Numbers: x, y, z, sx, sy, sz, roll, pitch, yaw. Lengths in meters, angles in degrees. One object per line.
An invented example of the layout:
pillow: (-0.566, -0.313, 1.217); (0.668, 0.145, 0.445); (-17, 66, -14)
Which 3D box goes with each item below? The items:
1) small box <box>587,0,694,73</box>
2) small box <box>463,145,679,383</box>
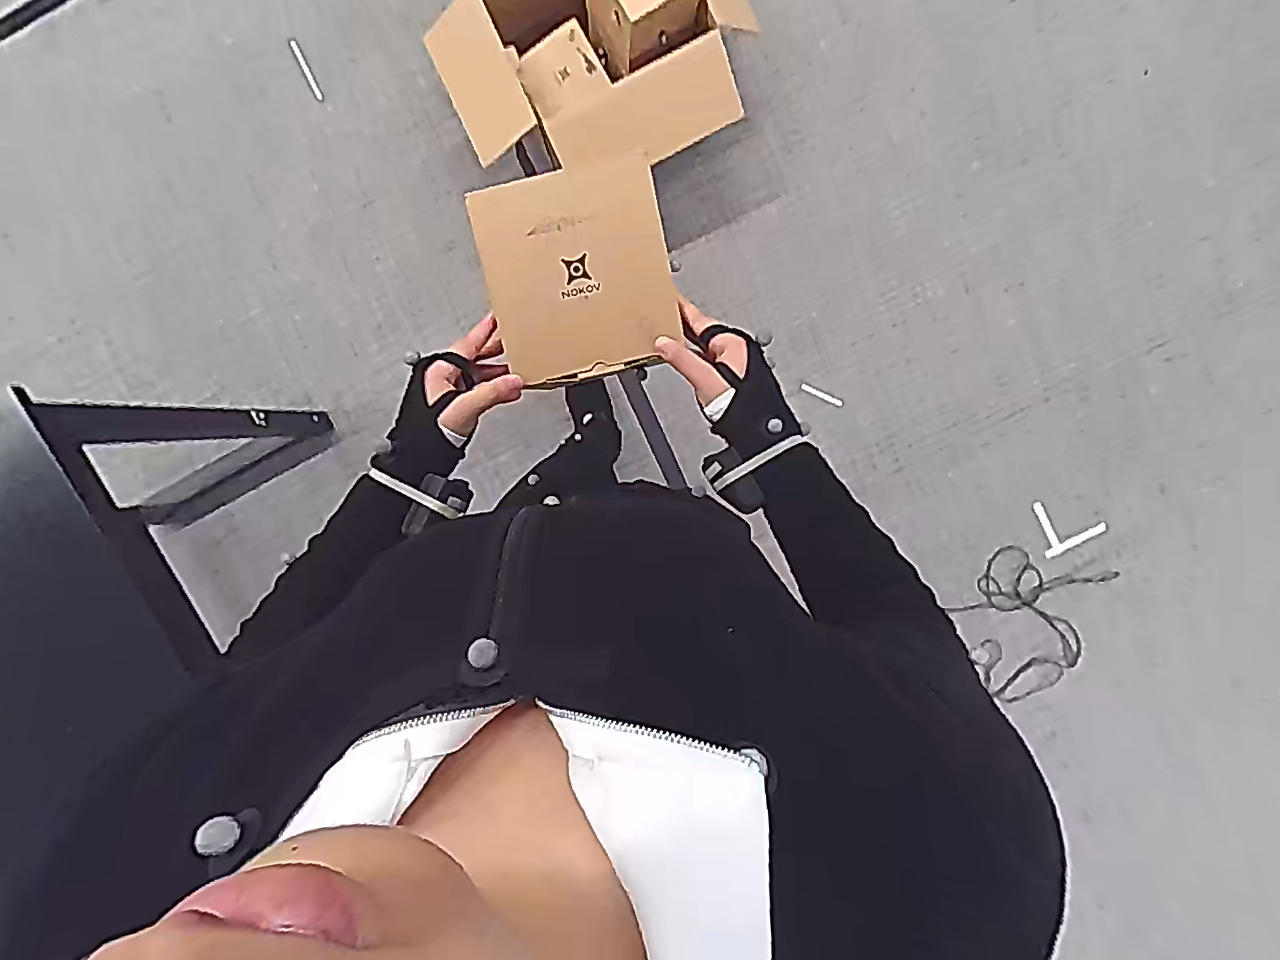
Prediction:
small box: (0.002, -0.980, 1.097); (0.168, 0.176, 0.179); (-32, 95, 0)
small box: (-0.057, -0.203, 0.561); (0.168, 0.176, 0.179); (-13, 98, 3)
